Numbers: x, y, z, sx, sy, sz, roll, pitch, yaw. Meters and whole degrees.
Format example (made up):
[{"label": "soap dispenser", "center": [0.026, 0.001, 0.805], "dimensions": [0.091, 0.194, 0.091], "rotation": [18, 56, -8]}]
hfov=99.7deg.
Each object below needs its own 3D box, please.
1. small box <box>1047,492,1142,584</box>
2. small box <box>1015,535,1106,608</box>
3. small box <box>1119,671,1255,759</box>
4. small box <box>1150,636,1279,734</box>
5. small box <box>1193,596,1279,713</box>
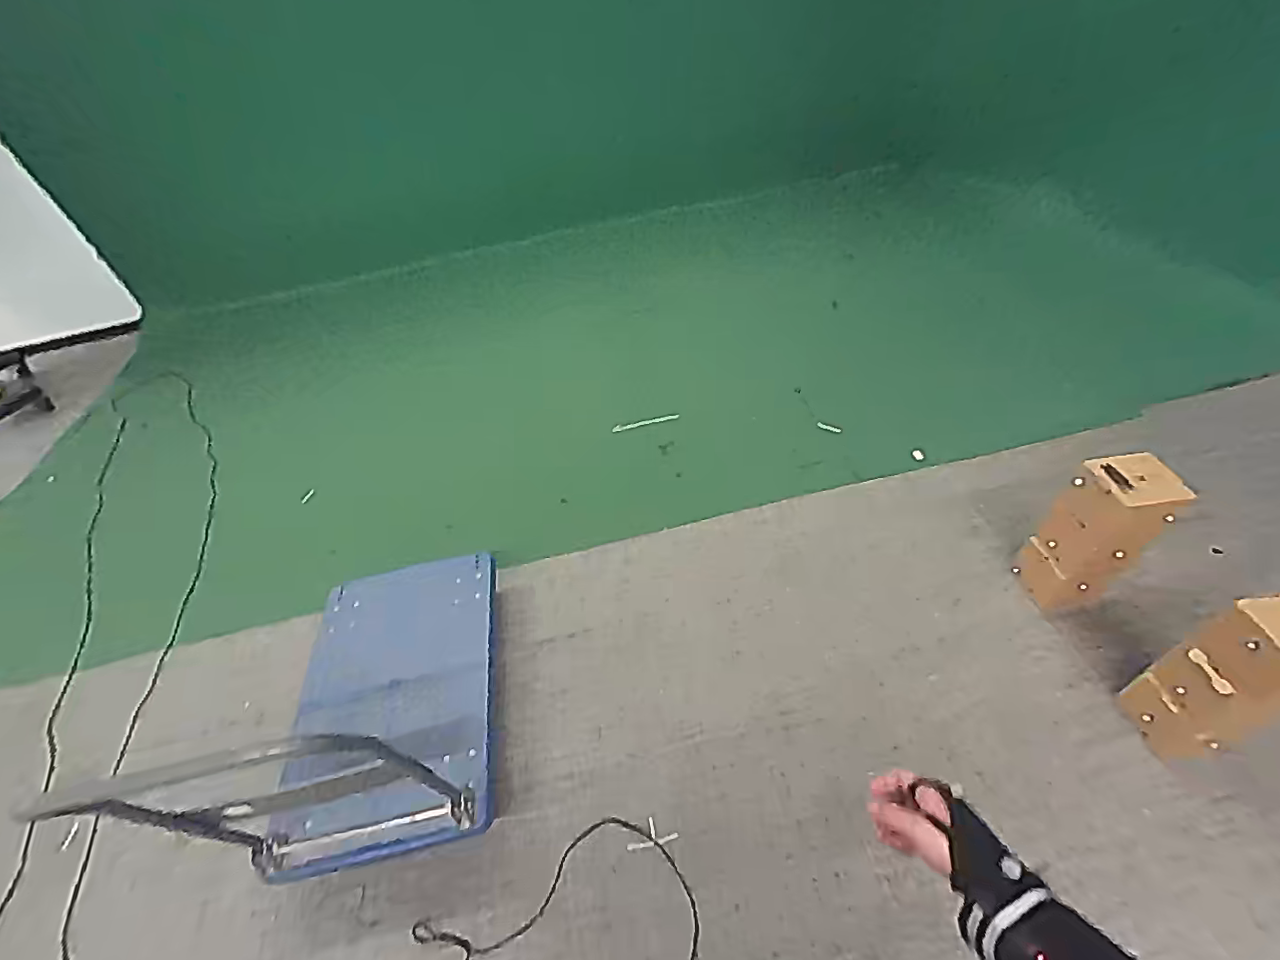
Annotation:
[{"label": "small box", "center": [1.302, 0.168, 1.563], "dimensions": [0.168, 0.176, 0.179], "rotation": [14, 50, 25]}, {"label": "small box", "center": [1.304, 0.280, 1.672], "dimensions": [0.179, 0.176, 0.168], "rotation": [-8, 46, 1]}, {"label": "small box", "center": [1.370, 0.584, 1.364], "dimensions": [0.179, 0.176, 0.168], "rotation": [-11, 46, 0]}, {"label": "small box", "center": [1.359, 0.468, 1.248], "dimensions": [0.179, 0.176, 0.168], "rotation": [-8, 45, 3]}, {"label": "small box", "center": [1.338, 0.360, 1.127], "dimensions": [0.168, 0.176, 0.179], "rotation": [-8, 45, 3]}]
